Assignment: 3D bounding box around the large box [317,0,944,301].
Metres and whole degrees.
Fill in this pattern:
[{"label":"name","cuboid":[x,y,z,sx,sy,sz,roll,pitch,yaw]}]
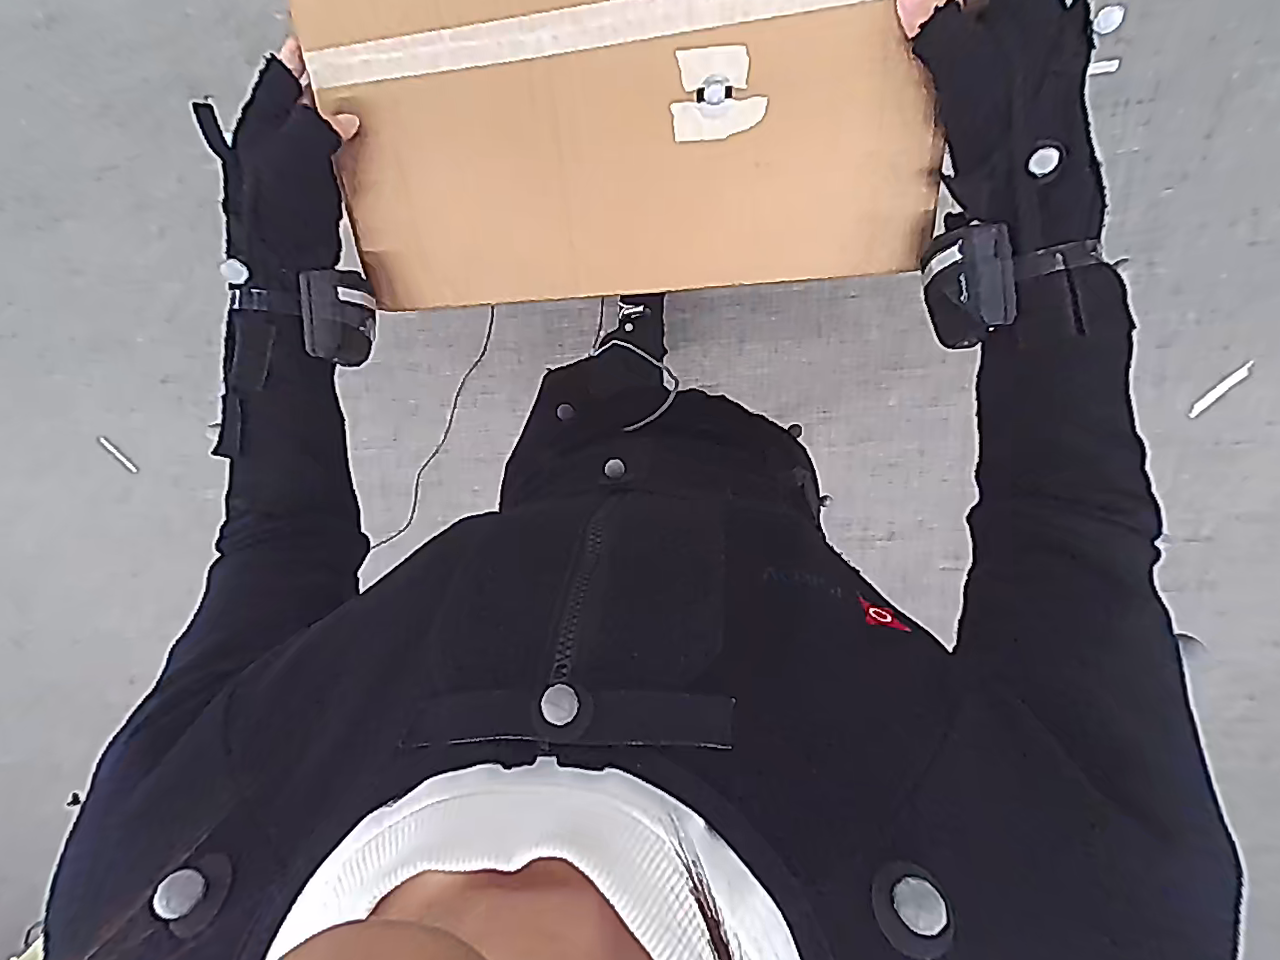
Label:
[{"label":"large box","cuboid":[0.001,-0.350,0.478,0.408,0.320,0.320,-2,114,9]}]
